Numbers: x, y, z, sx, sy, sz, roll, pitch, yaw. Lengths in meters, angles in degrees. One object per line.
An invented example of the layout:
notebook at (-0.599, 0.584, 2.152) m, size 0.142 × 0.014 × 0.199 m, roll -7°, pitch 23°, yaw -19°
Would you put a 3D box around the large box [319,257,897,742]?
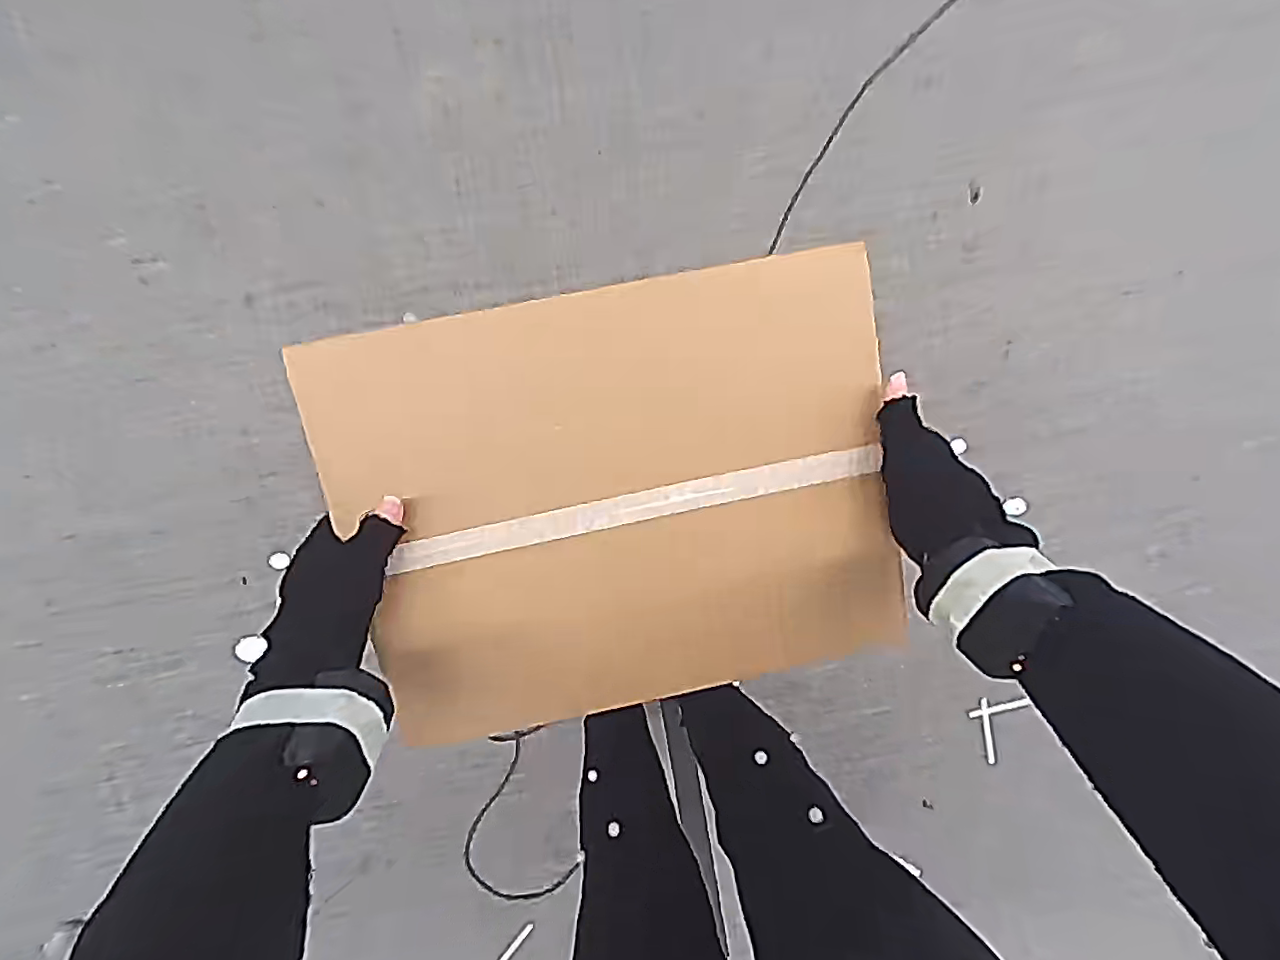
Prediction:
large box at (-0.020, 0.000, 0.563) m, size 0.408 × 0.320 × 0.320 m, roll -12°, pitch 101°, yaw -3°
